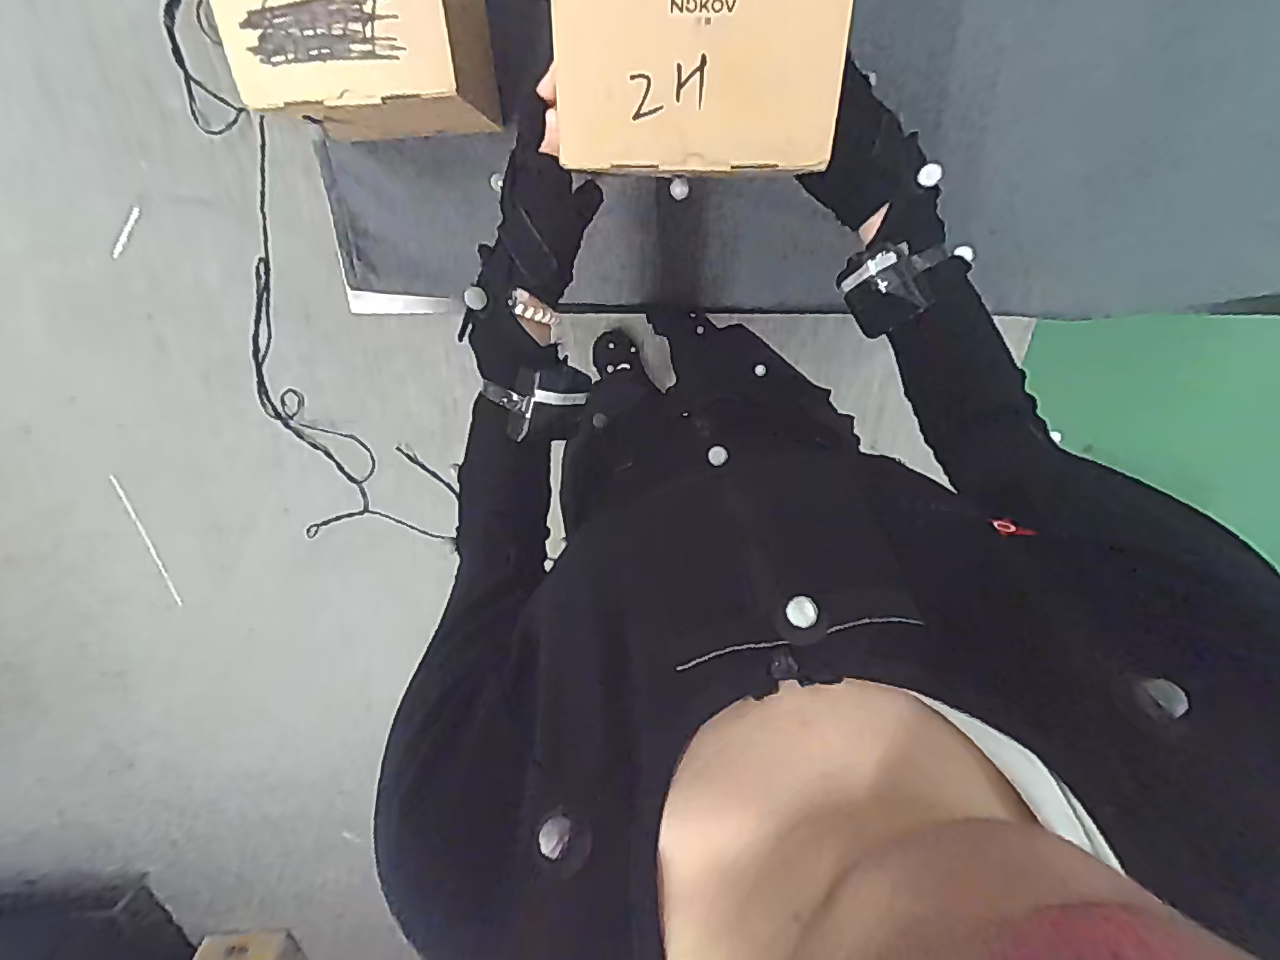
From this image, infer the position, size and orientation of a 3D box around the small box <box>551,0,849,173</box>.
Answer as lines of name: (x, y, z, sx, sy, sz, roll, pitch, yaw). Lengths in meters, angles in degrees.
small box: (0.032, -0.310, 0.358, 0.168, 0.176, 0.179, 0, 118, 0)
